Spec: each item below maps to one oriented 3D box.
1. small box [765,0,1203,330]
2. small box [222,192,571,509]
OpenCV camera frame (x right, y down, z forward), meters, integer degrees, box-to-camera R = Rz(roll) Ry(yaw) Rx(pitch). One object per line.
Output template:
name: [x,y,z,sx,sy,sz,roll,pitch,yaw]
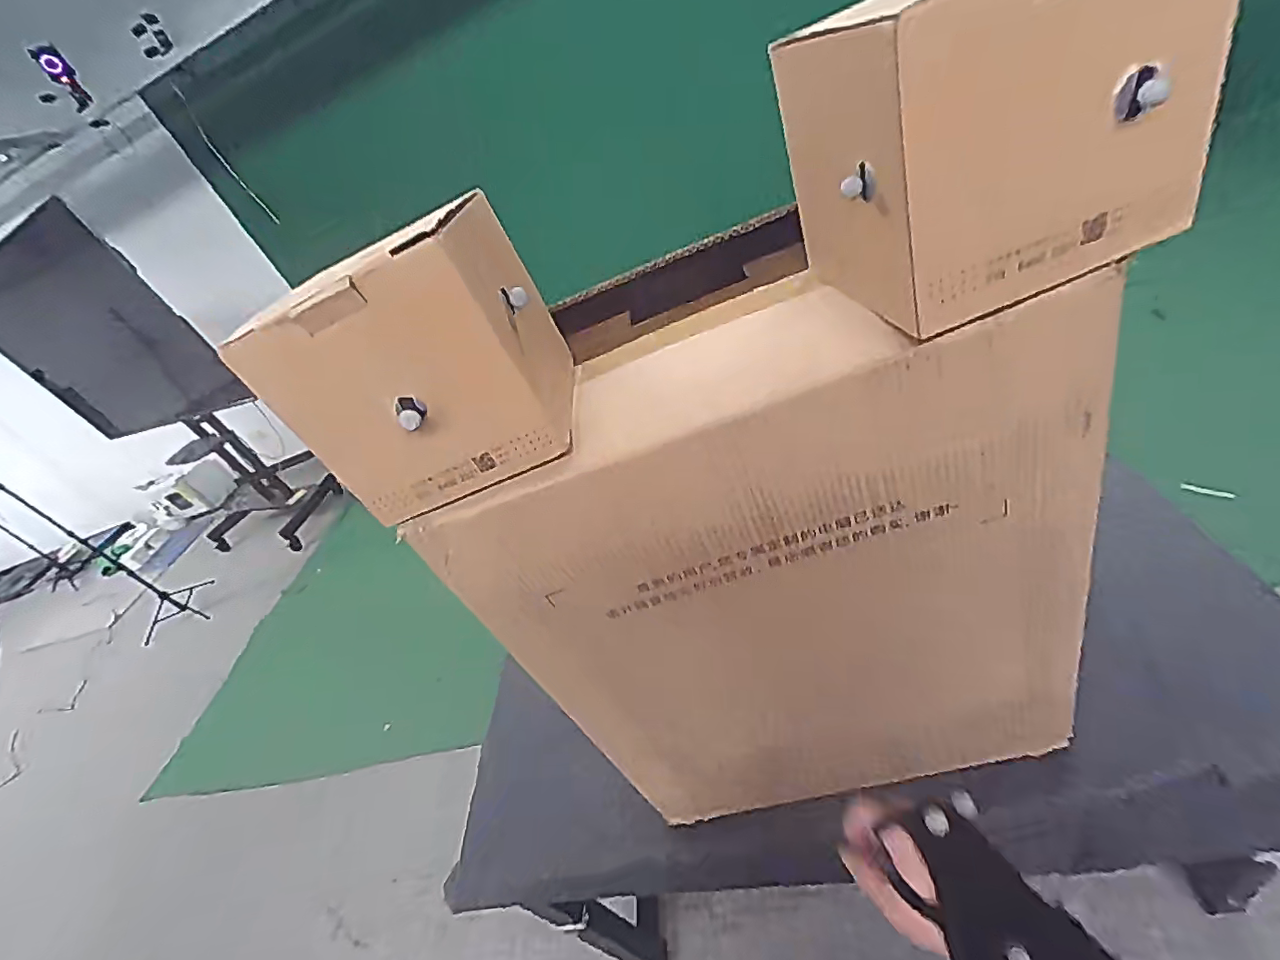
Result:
small box: [0.202,-0.218,0.349,0.168,0.176,0.179,-21,34,5]
small box: [-0.166,-0.098,0.438,0.168,0.176,0.179,-22,36,10]
